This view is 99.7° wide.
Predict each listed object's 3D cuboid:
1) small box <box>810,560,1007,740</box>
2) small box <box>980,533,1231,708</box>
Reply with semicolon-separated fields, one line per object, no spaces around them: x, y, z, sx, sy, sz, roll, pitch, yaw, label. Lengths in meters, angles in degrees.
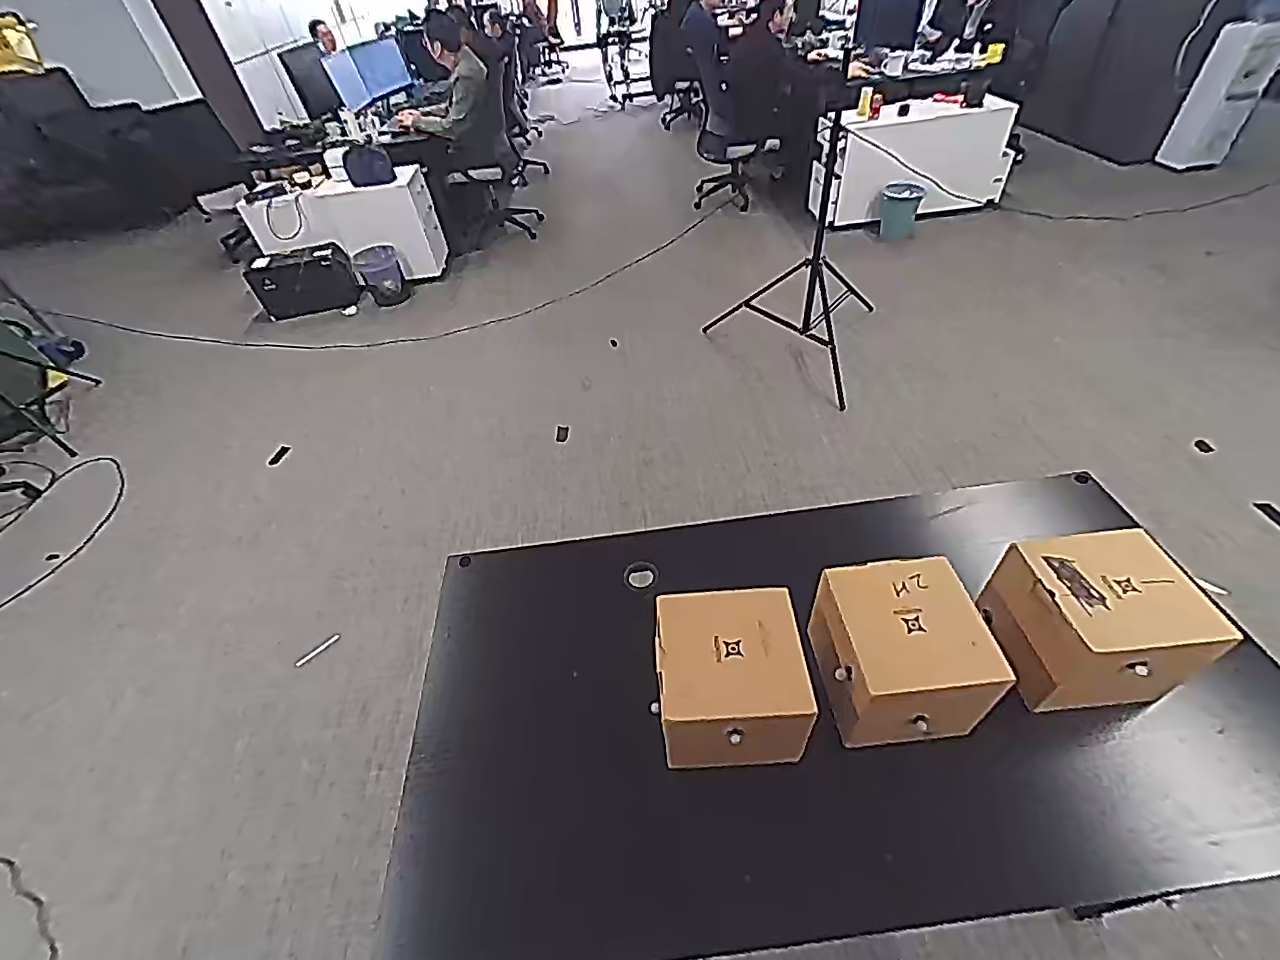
0.341;0.234;0.729;0.168;0.176;0.179;-6;45;1;small box
0.599;0.194;0.734;0.179;0.176;0.168;-6;45;1;small box
